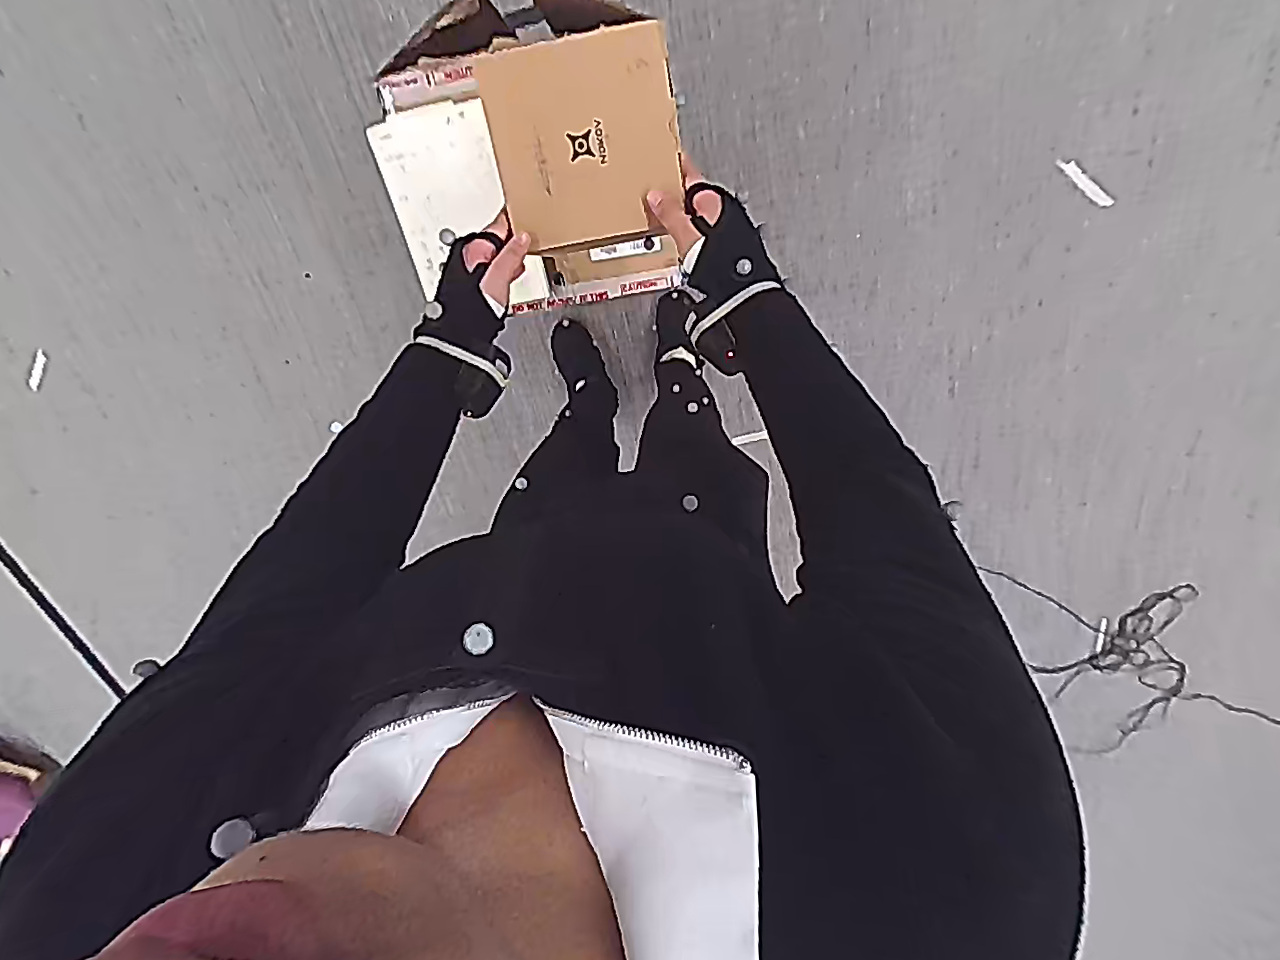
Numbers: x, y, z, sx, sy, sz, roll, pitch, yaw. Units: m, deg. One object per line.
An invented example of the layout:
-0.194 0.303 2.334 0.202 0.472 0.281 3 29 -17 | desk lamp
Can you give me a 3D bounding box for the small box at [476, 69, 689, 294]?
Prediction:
-0.048 -0.304 0.581 0.179 0.176 0.168 -8 112 6 | small box
